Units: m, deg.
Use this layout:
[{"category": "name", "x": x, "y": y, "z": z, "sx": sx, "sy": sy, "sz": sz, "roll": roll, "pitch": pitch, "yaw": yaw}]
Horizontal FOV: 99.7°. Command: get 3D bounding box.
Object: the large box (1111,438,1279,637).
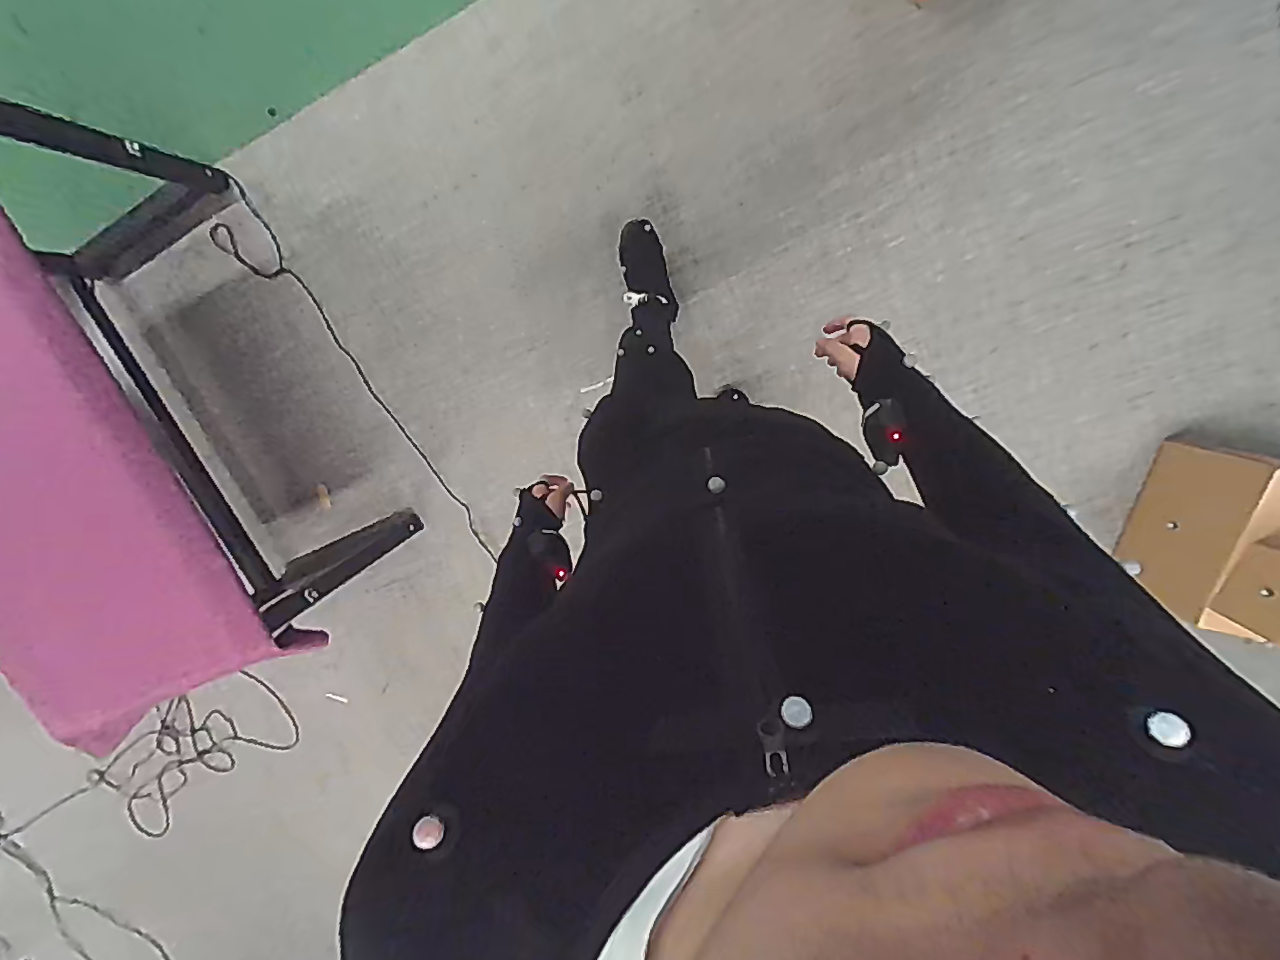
[{"category": "large box", "x": 1.503, "y": 0.136, "z": 1.348, "sx": 0.320, "sy": 0.320, "sz": 0.408, "roll": 9, "pitch": 106, "yaw": 3}]
